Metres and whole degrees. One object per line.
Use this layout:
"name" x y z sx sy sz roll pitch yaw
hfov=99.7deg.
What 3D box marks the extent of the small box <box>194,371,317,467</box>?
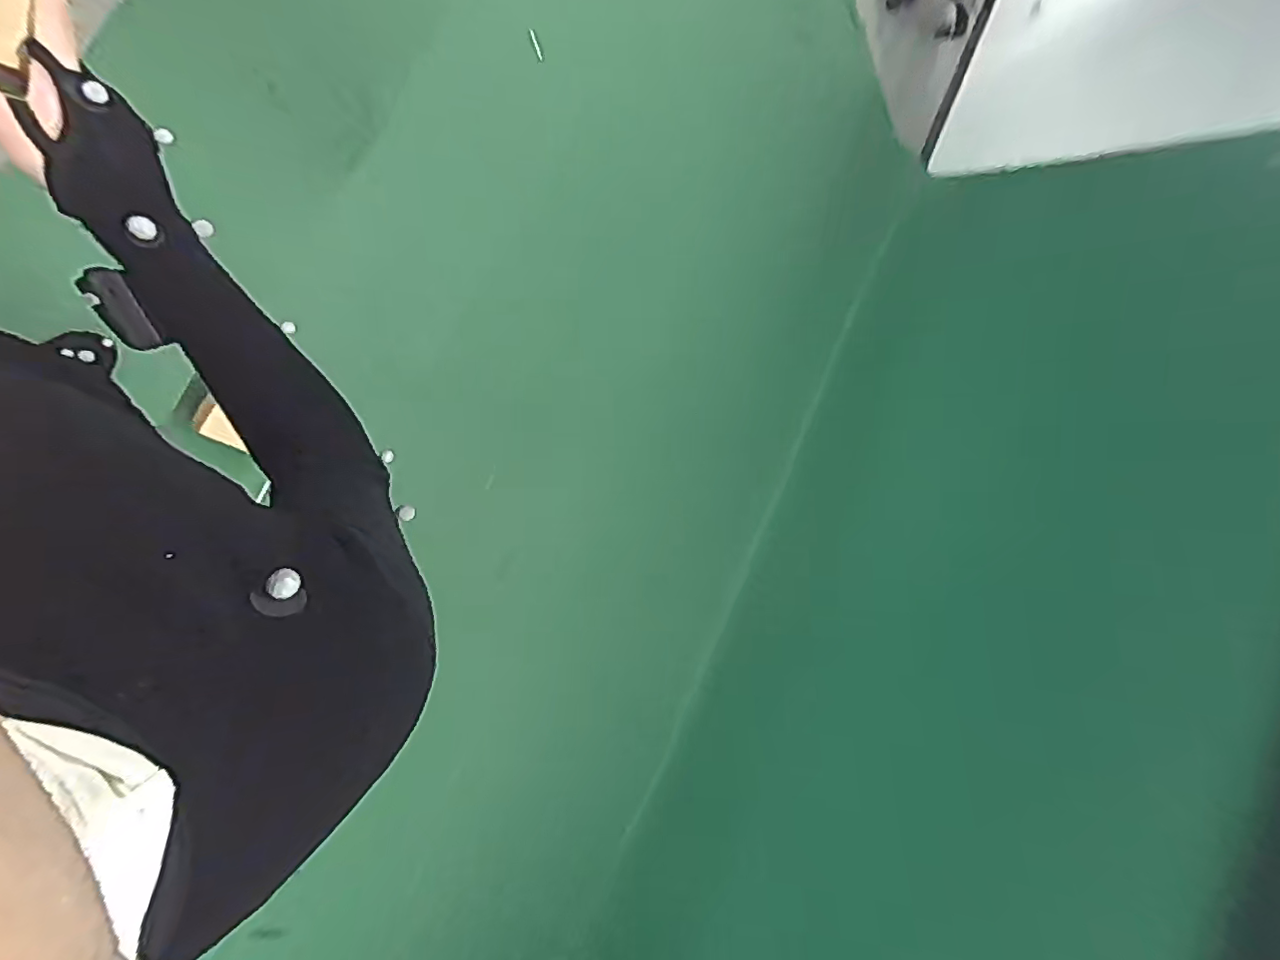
"small box" -0.931 -0.151 1.304 0.179 0.176 0.168 34 77 -47
